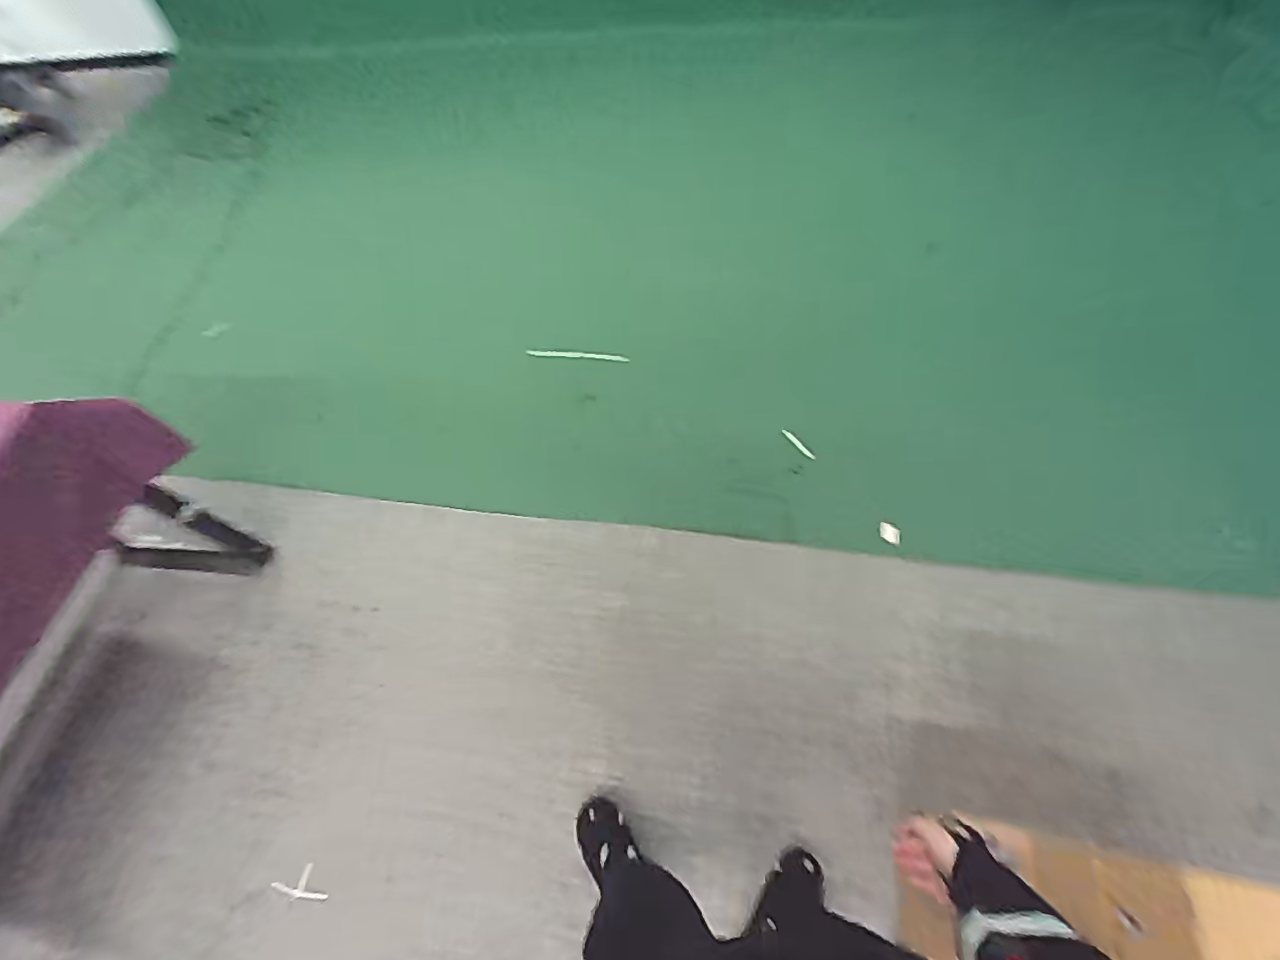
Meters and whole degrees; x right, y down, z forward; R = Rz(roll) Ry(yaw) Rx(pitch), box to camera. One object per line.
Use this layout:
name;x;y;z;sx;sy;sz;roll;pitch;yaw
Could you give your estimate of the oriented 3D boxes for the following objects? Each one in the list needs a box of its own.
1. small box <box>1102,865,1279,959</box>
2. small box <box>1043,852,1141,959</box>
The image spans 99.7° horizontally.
small box;0.692;0.566;0.621;0.179;0.176;0.168;8;61;11
small box;0.706;0.645;0.763;0.179;0.176;0.168;10;61;11
